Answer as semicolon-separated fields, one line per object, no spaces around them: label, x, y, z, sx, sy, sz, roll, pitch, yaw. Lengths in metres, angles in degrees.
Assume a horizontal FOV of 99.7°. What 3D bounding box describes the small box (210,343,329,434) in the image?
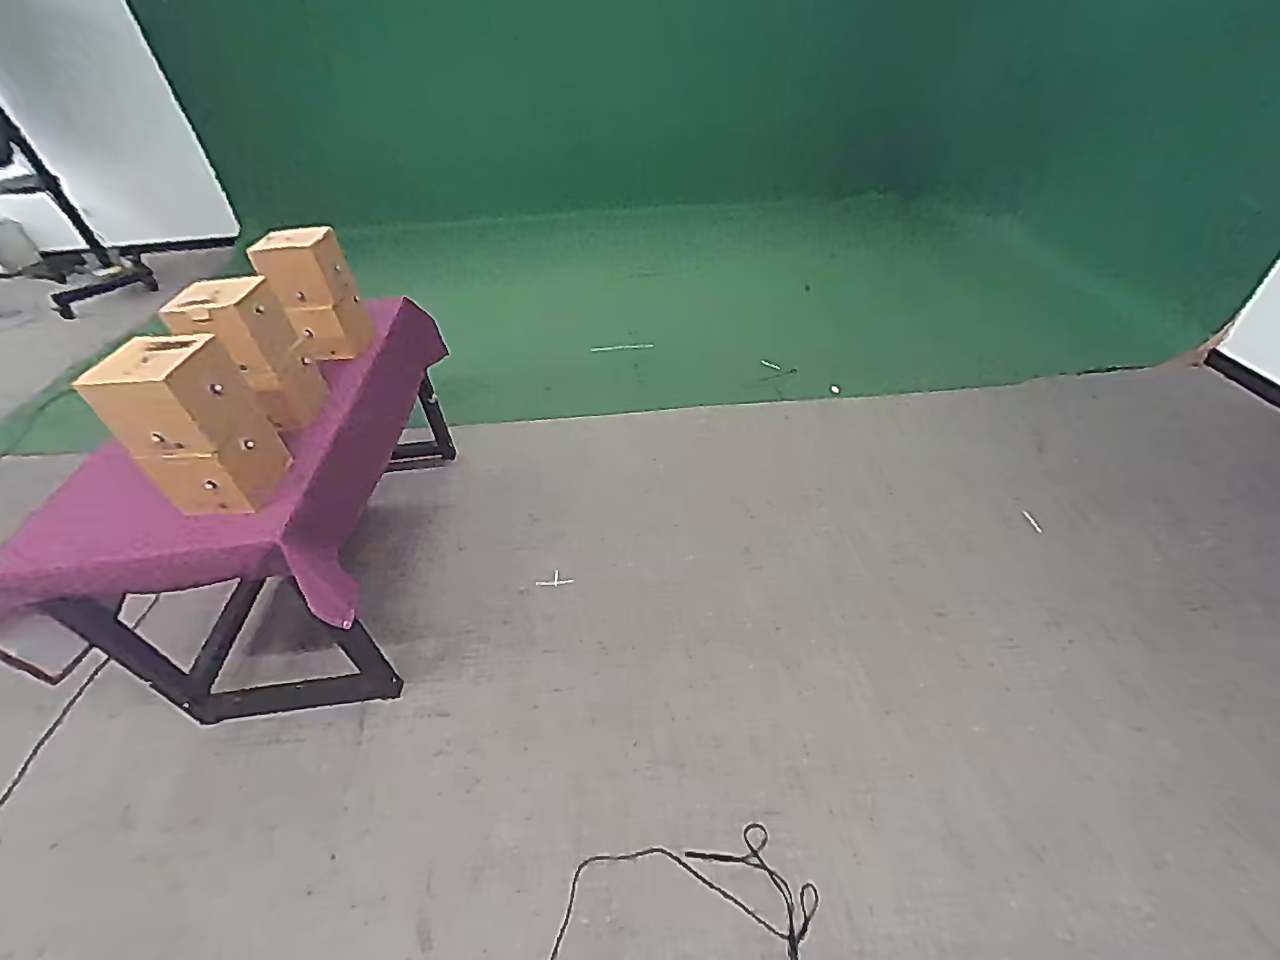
small box;-0.944;-0.236;1.401;0.168;0.176;0.179;-5;42;1

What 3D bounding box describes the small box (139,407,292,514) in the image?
small box;-0.906;-0.039;1.179;0.168;0.176;0.179;-1;41;3

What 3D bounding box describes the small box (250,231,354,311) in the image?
small box;-0.966;-0.603;1.568;0.179;0.176;0.168;-4;41;0

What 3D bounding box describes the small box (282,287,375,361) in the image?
small box;-0.955;-0.479;1.675;0.168;0.176;0.179;-2;41;3

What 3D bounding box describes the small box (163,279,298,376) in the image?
small box;-0.961;-0.359;1.292;0.168;0.176;0.179;-6;41;-2
